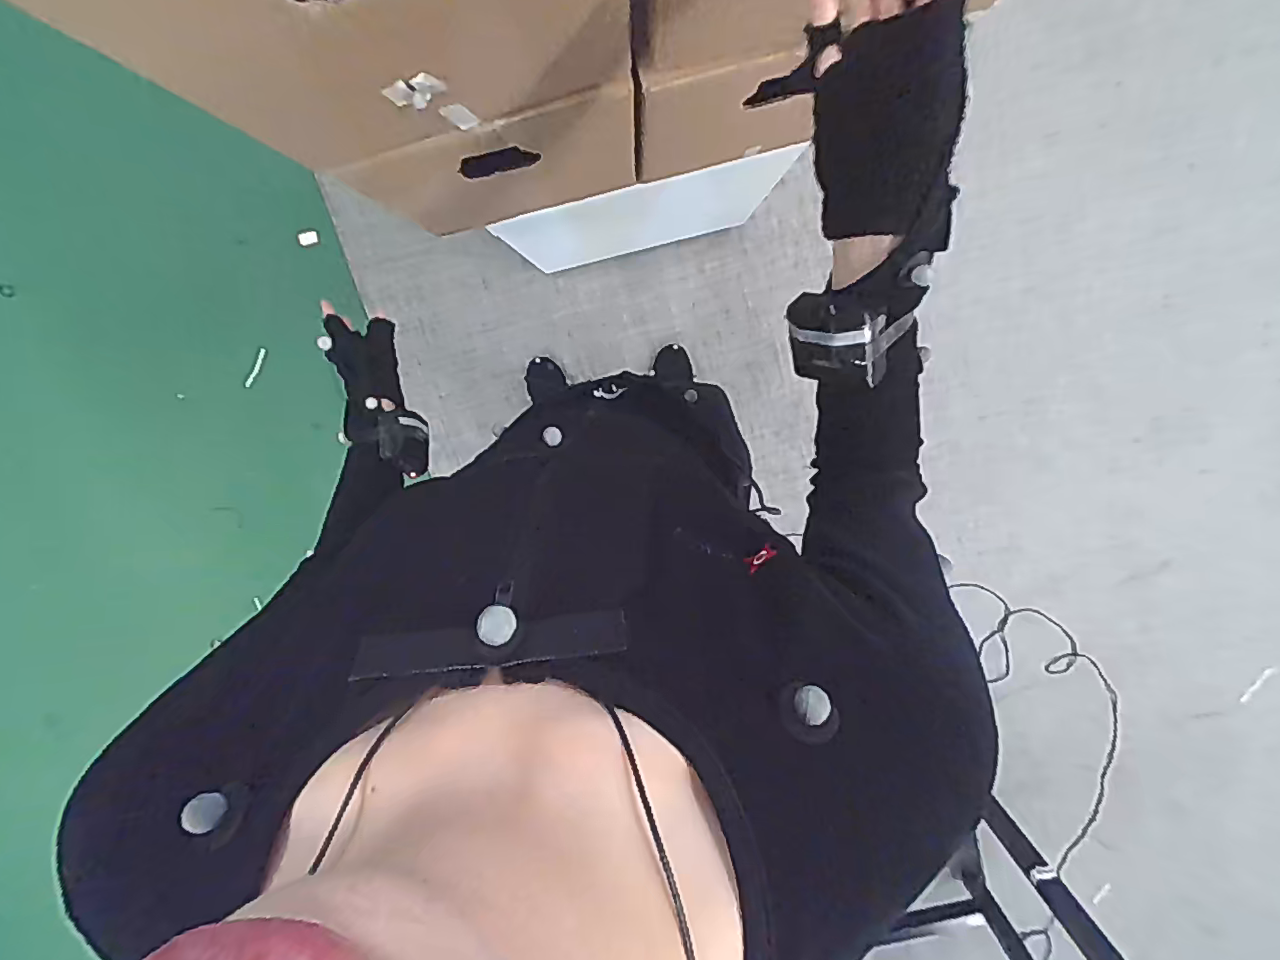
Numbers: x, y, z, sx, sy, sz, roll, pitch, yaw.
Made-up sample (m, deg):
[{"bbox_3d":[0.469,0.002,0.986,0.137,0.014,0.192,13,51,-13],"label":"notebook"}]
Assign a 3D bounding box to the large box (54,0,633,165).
[{"bbox_3d":[-0.207,-0.485,0.313,0.320,0.320,0.408,-15,102,3],"label":"large box"}]
